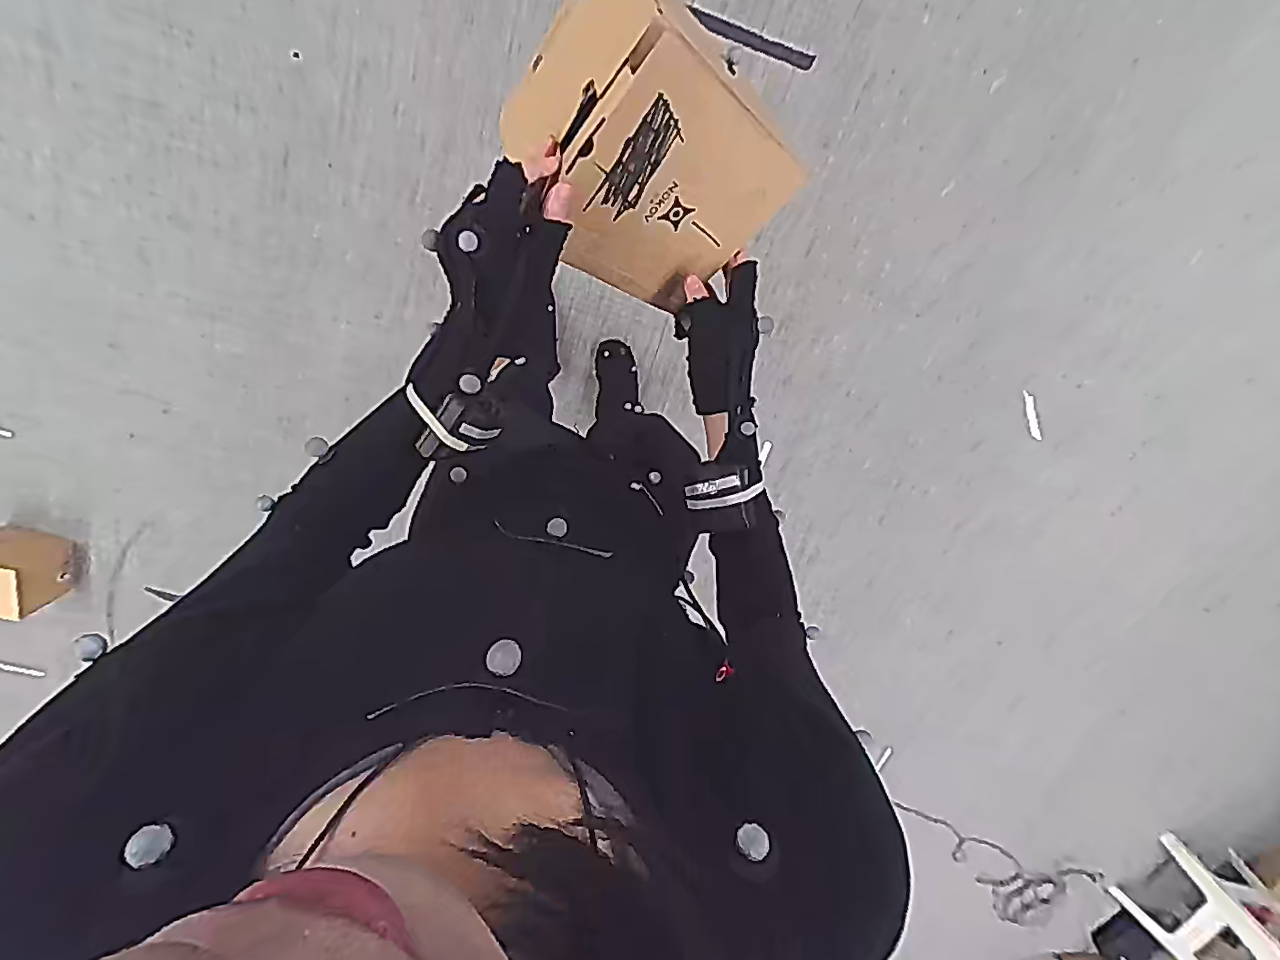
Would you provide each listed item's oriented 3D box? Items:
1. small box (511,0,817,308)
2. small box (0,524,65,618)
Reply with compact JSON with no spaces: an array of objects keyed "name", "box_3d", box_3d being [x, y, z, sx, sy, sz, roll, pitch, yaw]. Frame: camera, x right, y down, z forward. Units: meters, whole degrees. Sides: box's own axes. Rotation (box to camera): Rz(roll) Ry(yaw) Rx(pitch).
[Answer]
[{"name":"small box","box_3d":[0.009,-0.289,0.453,0.179,0.176,0.168,16,139,-42]},{"name":"small box","box_3d":[-1.715,0.237,1.449,0.179,0.176,0.168,16,110,-10]}]
